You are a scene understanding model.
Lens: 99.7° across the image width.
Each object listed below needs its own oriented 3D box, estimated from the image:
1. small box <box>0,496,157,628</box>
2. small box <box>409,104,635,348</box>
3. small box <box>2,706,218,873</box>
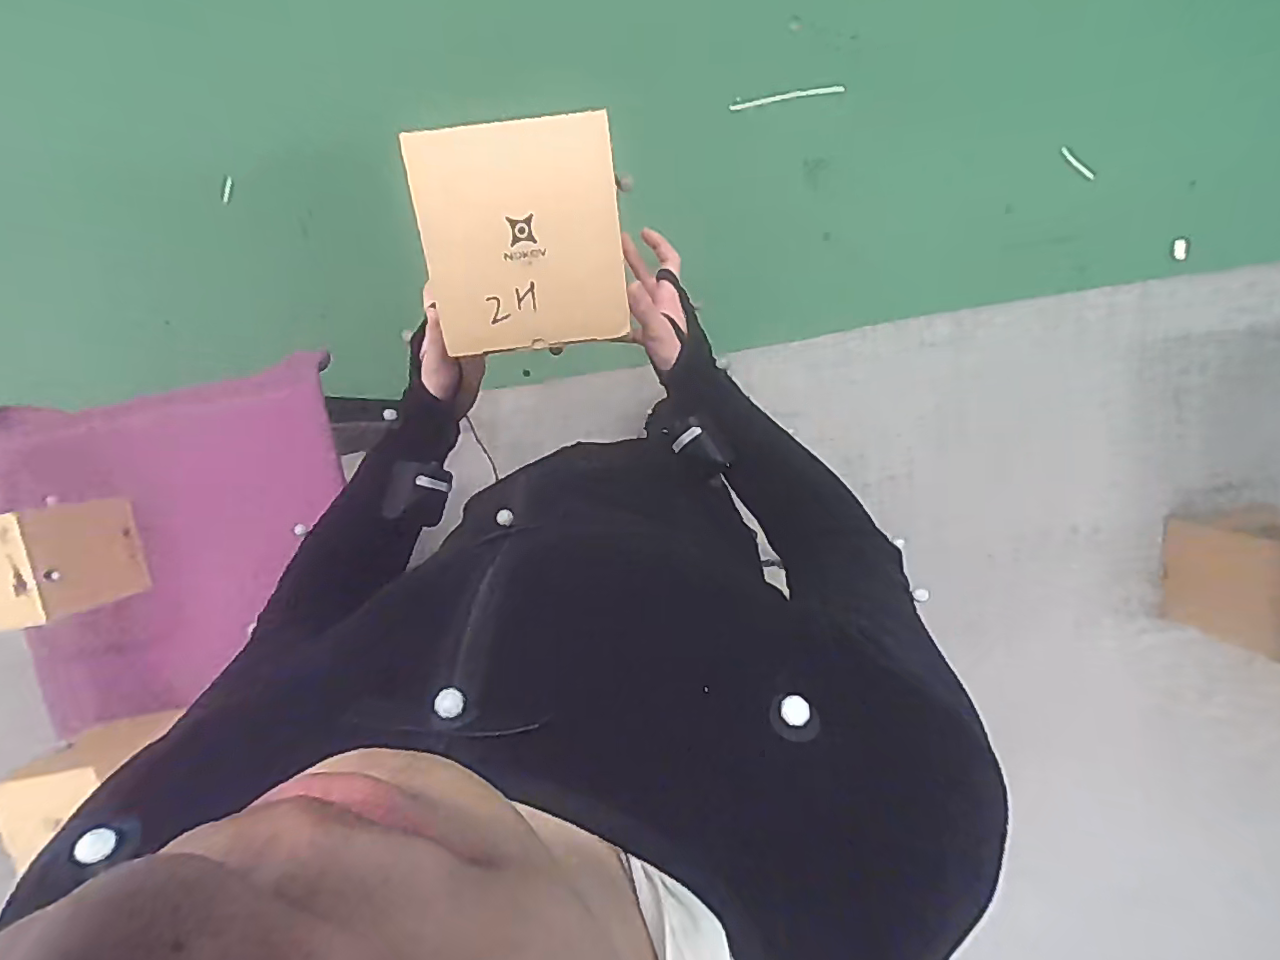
[{"bbox_3d":[-0.940,0.127,0.861,0.179,0.176,0.168,-9,97,4],"label":"small box"},{"bbox_3d":[-0.095,-0.228,0.521,0.168,0.176,0.179,-5,109,1],"label":"small box"},{"bbox_3d":[-0.870,0.507,0.906,0.179,0.176,0.168,-11,97,3],"label":"small box"}]
